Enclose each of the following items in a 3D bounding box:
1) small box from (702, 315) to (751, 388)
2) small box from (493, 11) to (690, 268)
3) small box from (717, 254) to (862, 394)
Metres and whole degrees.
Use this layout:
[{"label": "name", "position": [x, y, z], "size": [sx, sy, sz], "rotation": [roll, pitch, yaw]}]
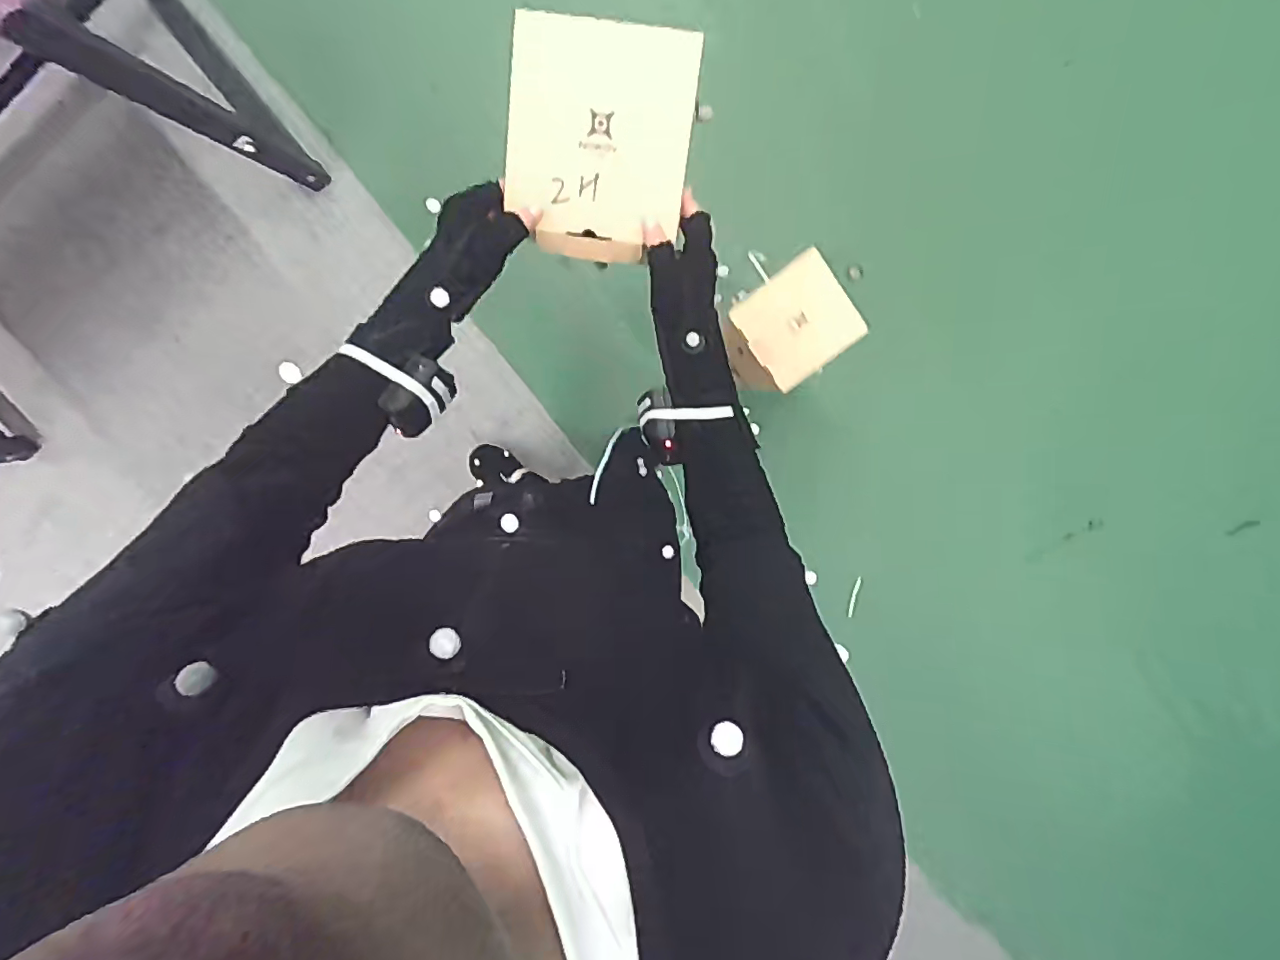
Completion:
[{"label": "small box", "position": [0.263, -0.338, 1.307], "size": [0.179, 0.176, 0.168], "rotation": [-34, 99, 7]}, {"label": "small box", "position": [-0.044, -0.333, 0.567], "size": [0.168, 0.176, 0.179], "rotation": [8, 105, 1]}, {"label": "small box", "position": [0.260, -0.276, 0.985], "size": [0.179, 0.176, 0.168], "rotation": [-36, 99, 8]}]
